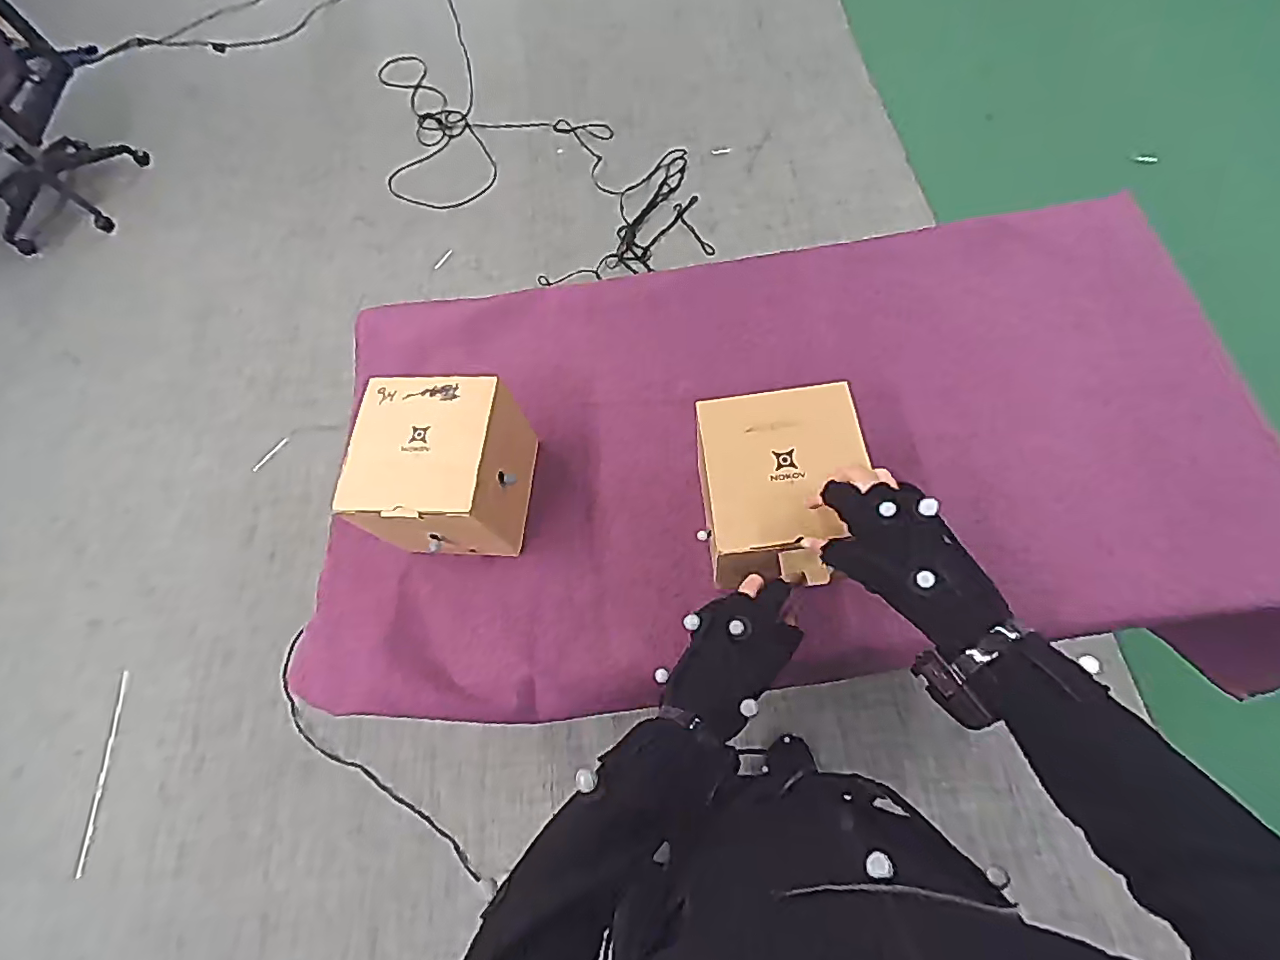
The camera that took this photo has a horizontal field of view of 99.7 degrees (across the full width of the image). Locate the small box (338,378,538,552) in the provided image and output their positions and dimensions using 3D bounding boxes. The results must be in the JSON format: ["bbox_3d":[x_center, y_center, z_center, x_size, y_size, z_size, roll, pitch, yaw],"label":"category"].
[{"bbox_3d":[-0.239,-0.011,0.691,0.168,0.176,0.179,1,68,8],"label":"small box"}]

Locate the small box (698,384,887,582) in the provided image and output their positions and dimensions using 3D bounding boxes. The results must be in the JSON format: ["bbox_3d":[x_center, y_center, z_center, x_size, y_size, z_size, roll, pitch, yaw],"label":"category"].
[{"bbox_3d":[0.161,0.016,0.626,0.168,0.176,0.179,-7,66,4],"label":"small box"}]
